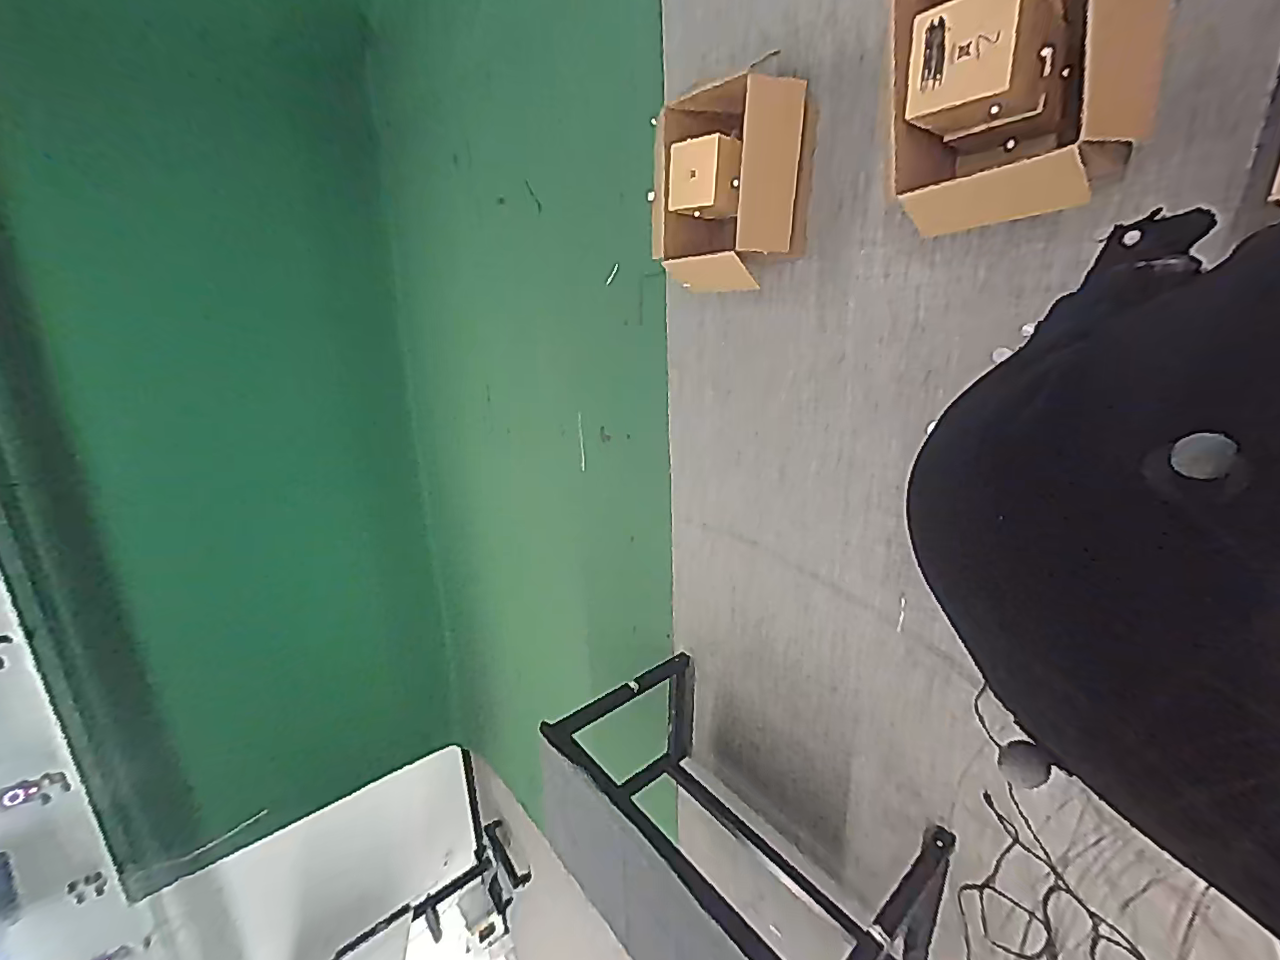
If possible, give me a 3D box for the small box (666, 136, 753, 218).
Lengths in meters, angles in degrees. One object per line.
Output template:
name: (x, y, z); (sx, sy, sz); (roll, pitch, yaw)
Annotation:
small box: (0.194, -0.832, 1.502); (0.179, 0.176, 0.168); (20, 116, 45)
